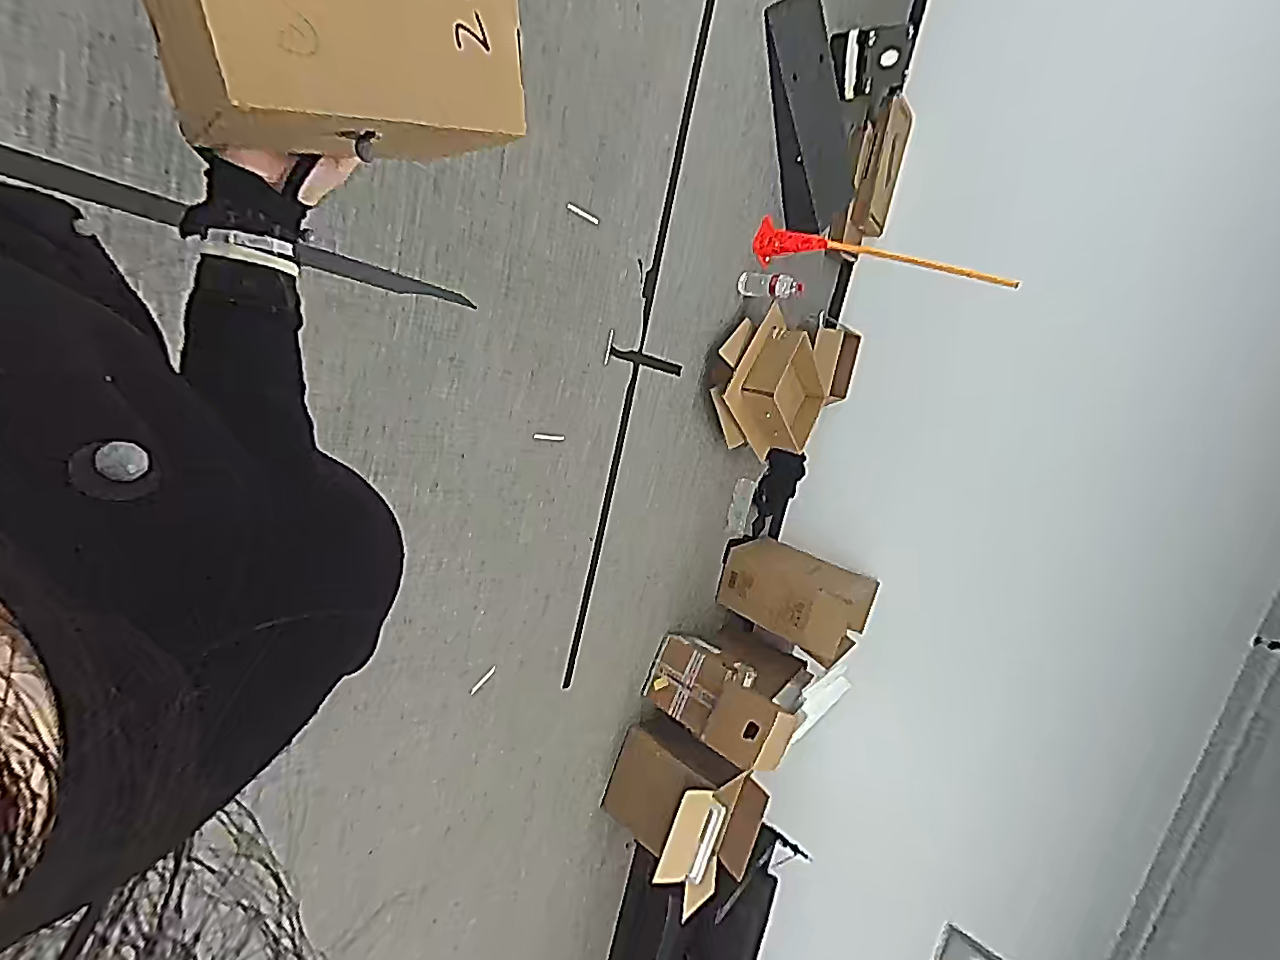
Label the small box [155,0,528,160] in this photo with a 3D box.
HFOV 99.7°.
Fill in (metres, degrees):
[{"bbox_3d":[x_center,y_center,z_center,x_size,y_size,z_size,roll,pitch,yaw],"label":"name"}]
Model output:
[{"bbox_3d":[-0.197,-0.309,0.345,0.179,0.176,0.168,-23,123,-39],"label":"small box"}]
